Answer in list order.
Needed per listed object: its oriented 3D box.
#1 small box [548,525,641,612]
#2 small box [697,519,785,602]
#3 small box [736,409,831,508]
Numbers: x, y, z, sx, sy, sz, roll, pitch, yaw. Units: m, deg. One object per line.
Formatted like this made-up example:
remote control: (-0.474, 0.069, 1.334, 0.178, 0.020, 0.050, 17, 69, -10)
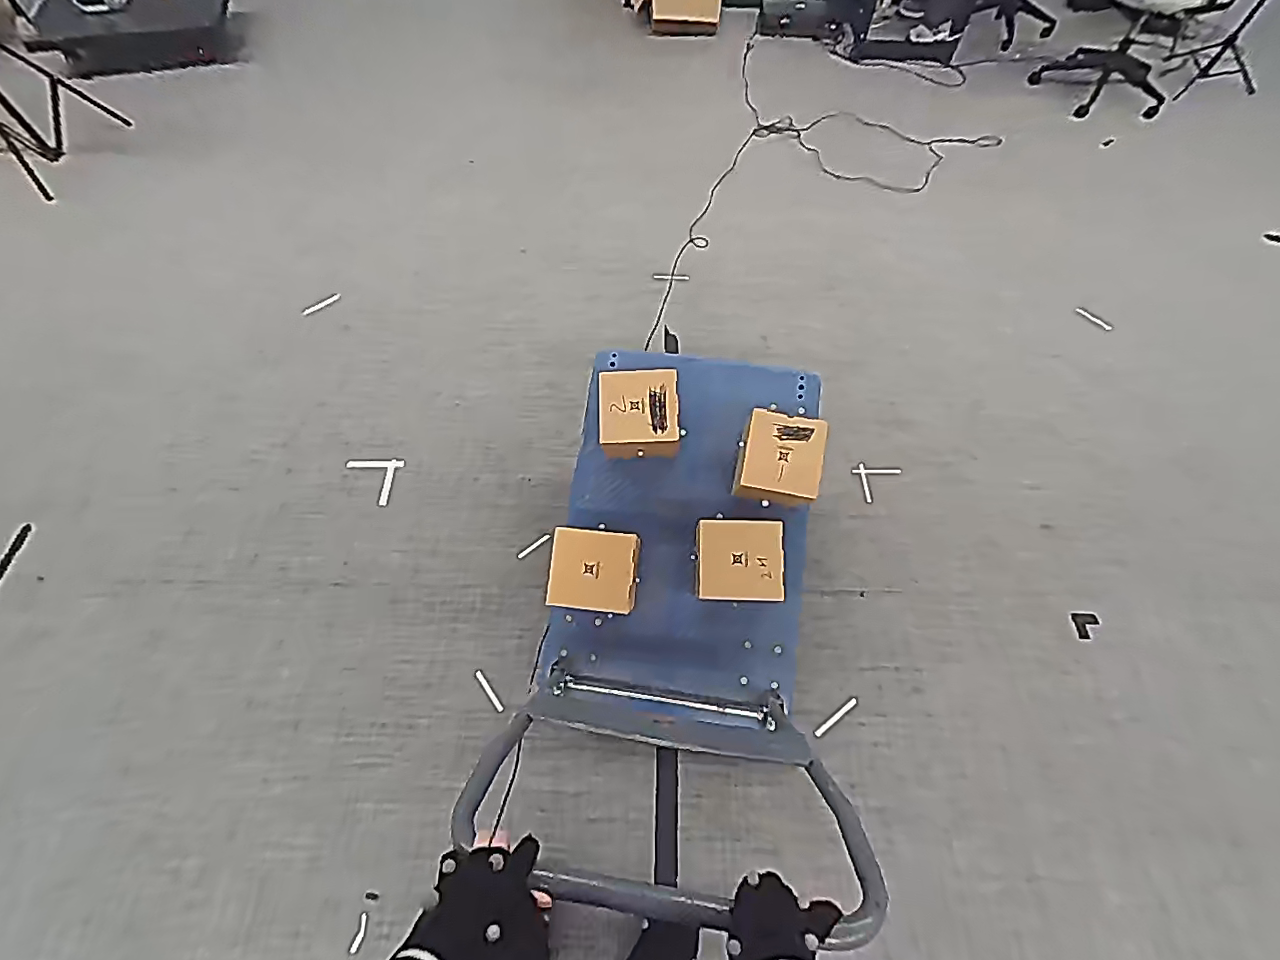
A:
small box: (-0.095, 0.199, 1.211, 0.179, 0.176, 0.168, 6, 80, 3)
small box: (0.217, 0.180, 1.196, 0.179, 0.176, 0.168, 2, 80, 4)
small box: (0.319, -0.043, 1.231, 0.168, 0.176, 0.179, 11, 82, 6)
